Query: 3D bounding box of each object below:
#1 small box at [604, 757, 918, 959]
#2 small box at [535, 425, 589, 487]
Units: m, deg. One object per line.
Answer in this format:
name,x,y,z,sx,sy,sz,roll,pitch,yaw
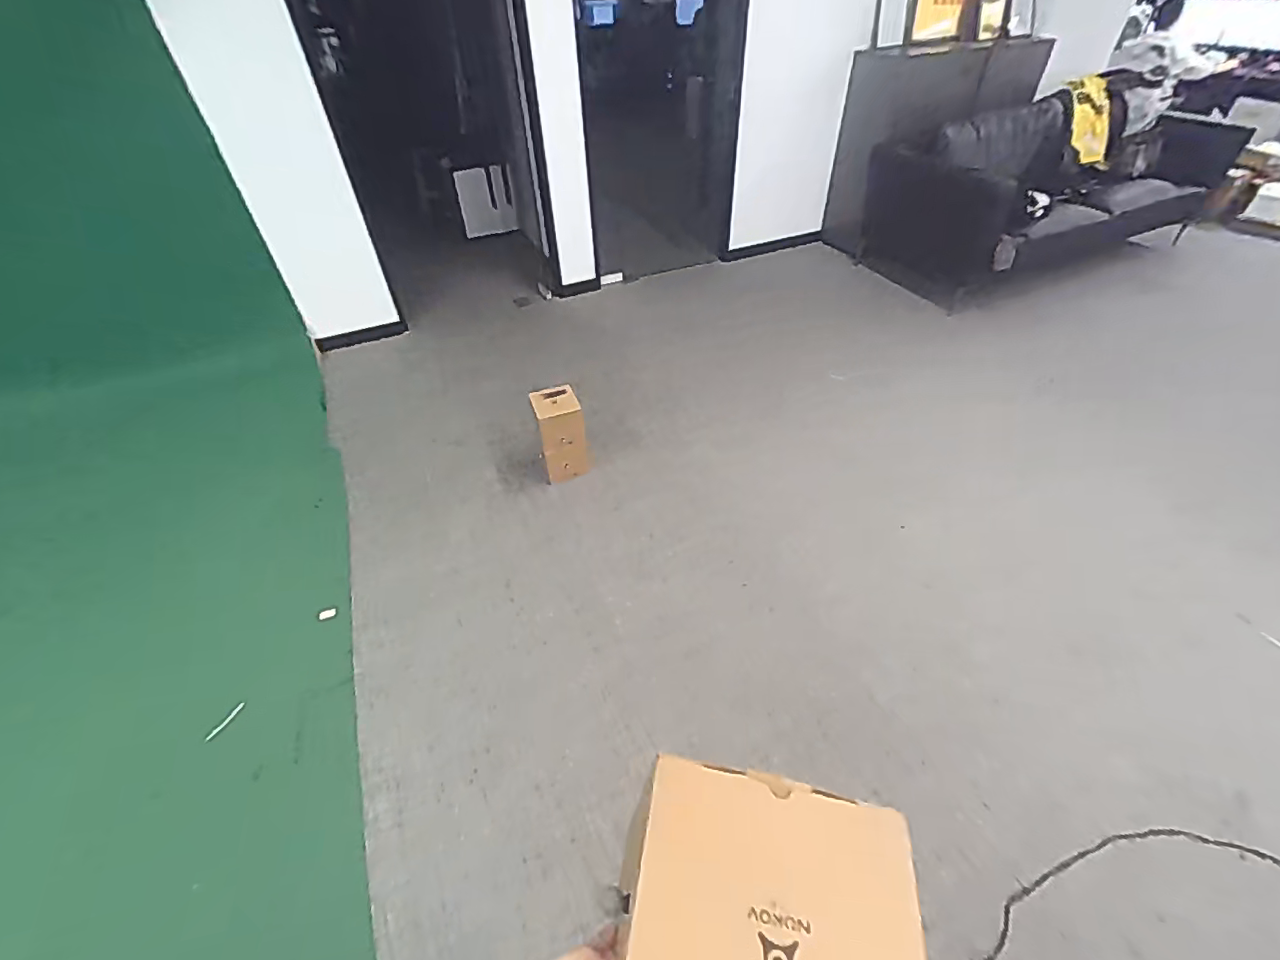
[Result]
small box,0.064,0.319,0.353,0.168,0.176,0.179,13,44,4
small box,-0.313,-0.092,2.198,0.168,0.176,0.179,-17,46,-16
